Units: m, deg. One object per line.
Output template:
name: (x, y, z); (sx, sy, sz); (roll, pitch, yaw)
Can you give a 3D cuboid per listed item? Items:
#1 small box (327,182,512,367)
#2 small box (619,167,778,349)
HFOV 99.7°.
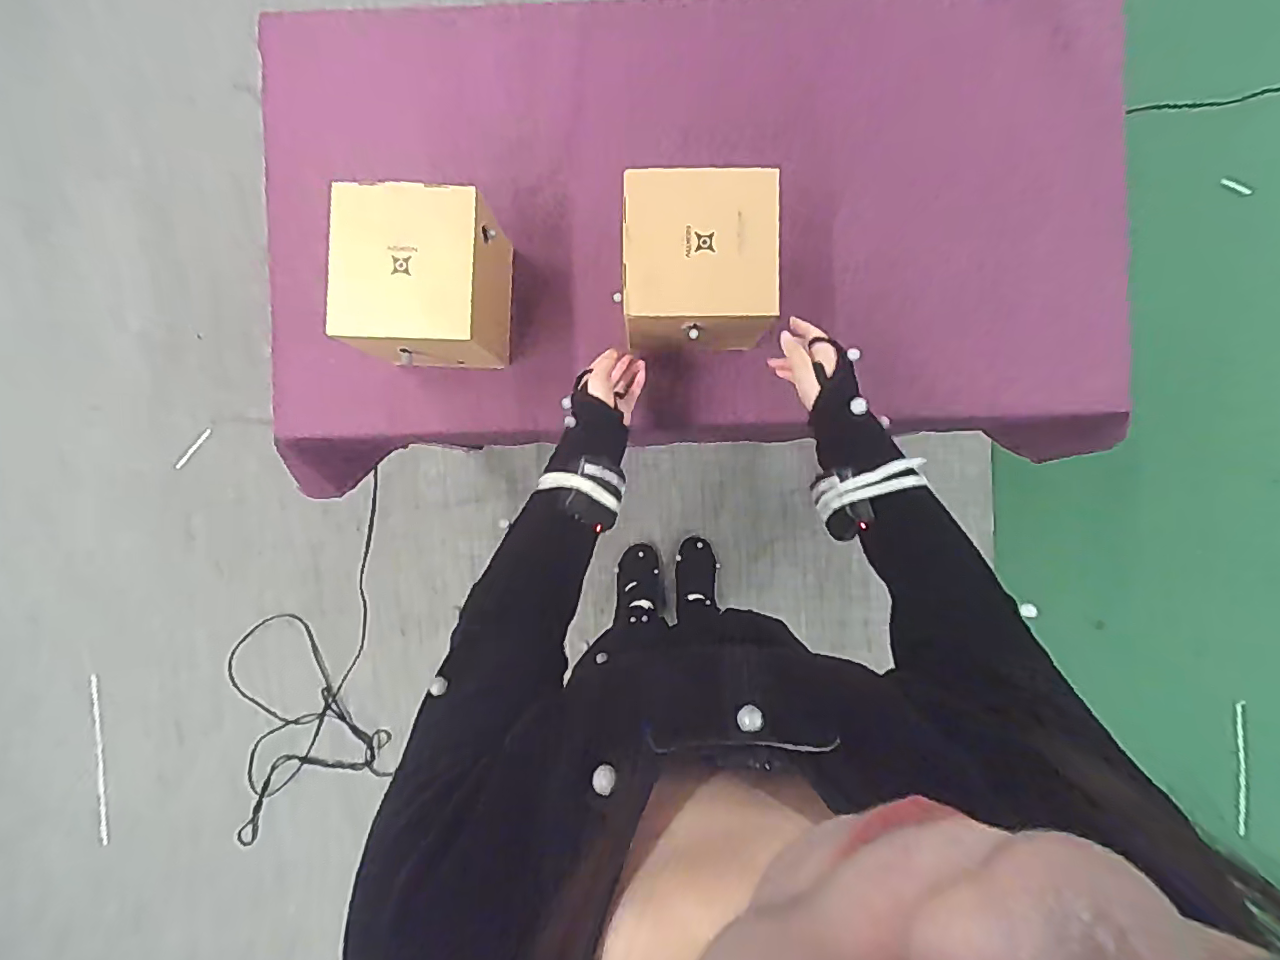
small box: (-0.266, -0.247, 0.689); (0.168, 0.176, 0.179); (2, 89, 1)
small box: (0.067, -0.265, 0.681); (0.179, 0.176, 0.168); (1, 90, 1)
